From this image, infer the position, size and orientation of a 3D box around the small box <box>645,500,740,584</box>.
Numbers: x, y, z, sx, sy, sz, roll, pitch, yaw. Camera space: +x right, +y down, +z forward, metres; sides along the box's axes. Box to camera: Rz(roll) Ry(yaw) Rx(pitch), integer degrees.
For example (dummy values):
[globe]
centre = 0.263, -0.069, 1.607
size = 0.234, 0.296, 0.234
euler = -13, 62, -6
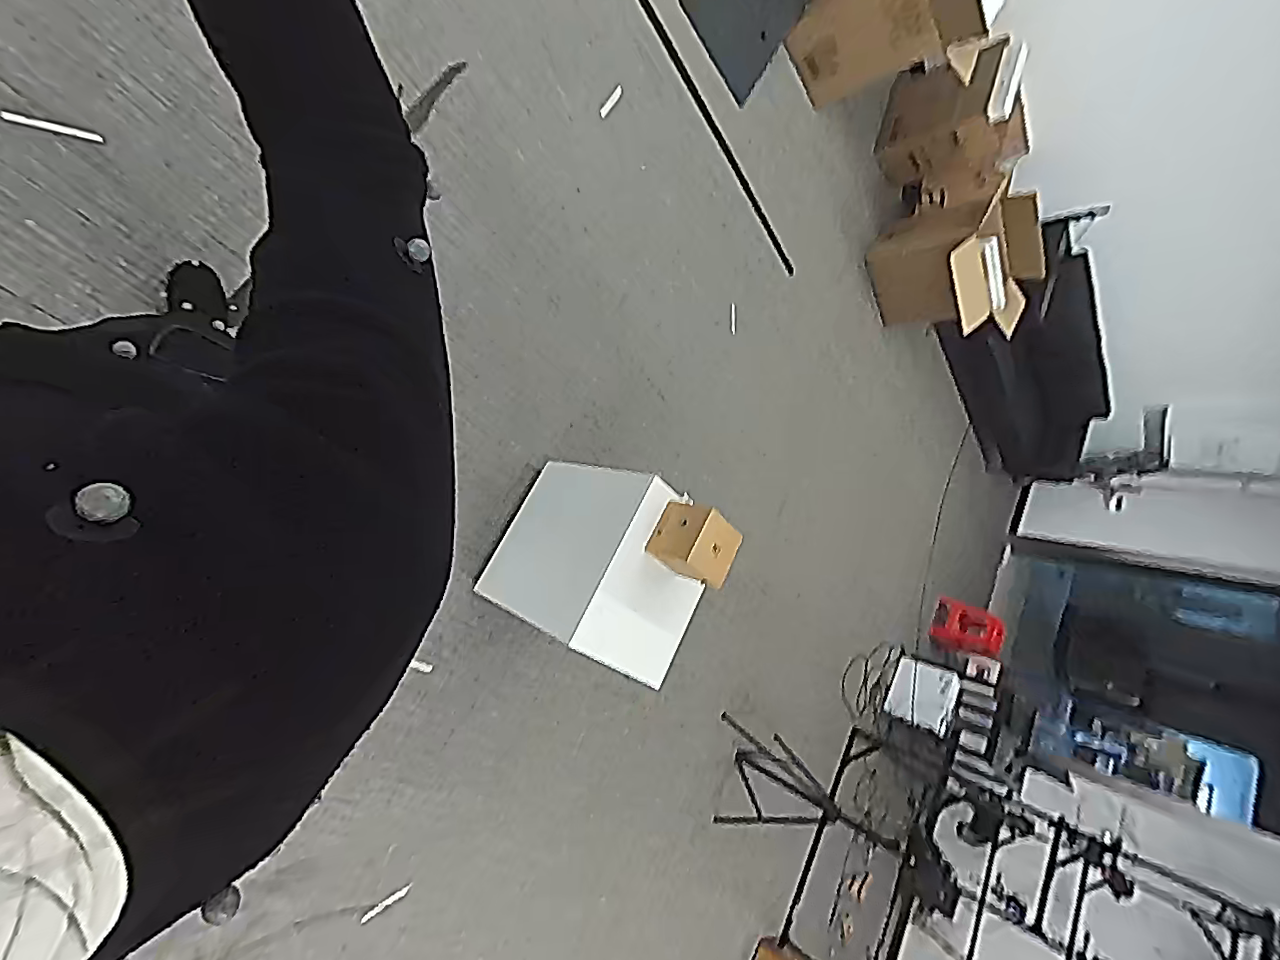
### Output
[small box]
centre = 0.143, 0.169, 1.520
size = 0.179, 0.176, 0.168
euler = 42, 69, -39
